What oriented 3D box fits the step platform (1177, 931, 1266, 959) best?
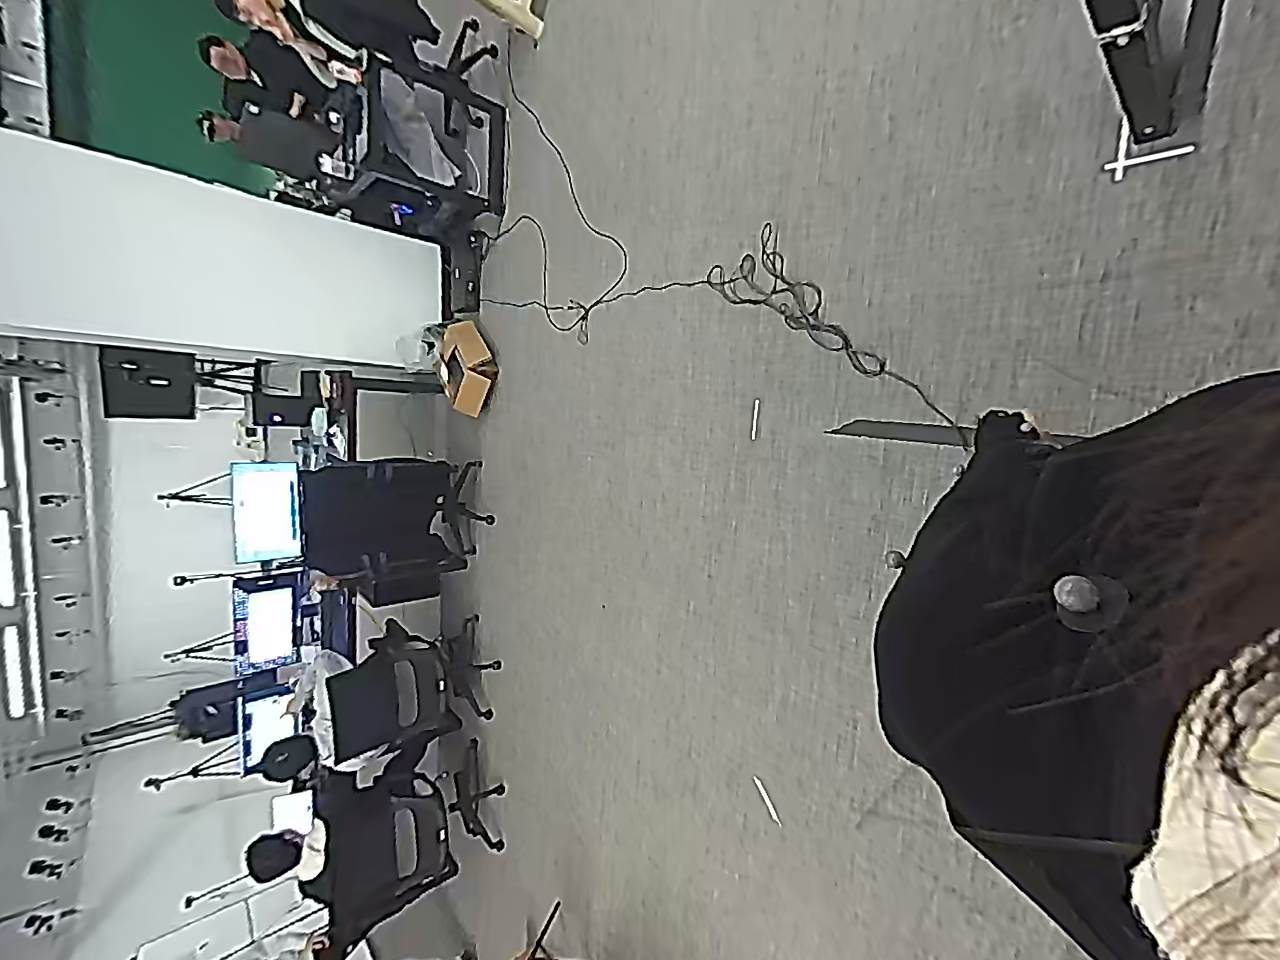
[{"bbox_3d":[1.248,1.102,0.808,0.684,0.204,0.286,21,107,45],"label":"step platform"}]
